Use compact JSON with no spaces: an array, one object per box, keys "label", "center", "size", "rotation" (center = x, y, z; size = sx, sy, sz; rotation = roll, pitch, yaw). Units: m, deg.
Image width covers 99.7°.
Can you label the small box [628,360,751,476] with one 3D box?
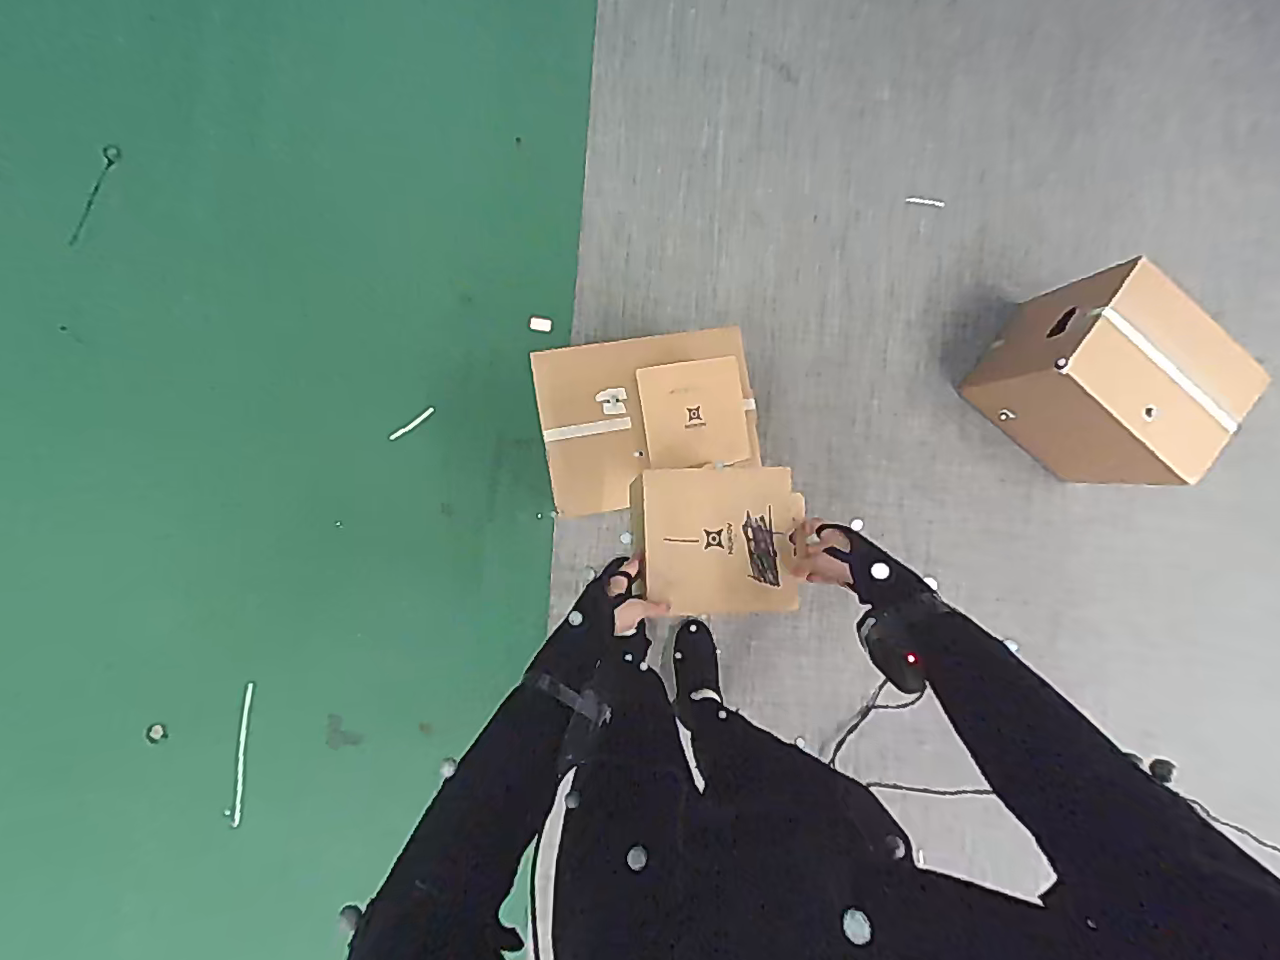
[{"label":"small box","center":[0.077,-0.094,0.924],"size":[0.168,0.176,0.179],"rotation":[-9,91,-7]}]

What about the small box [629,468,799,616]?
[{"label":"small box","center":[0.082,0.077,0.686],"size":[0.179,0.176,0.168],"rotation":[-1,82,-6]}]

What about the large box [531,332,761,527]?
[{"label":"large box","center":[0.005,-0.098,1.163],"size":[0.408,0.320,0.320],"rotation":[-10,90,-5]}]
